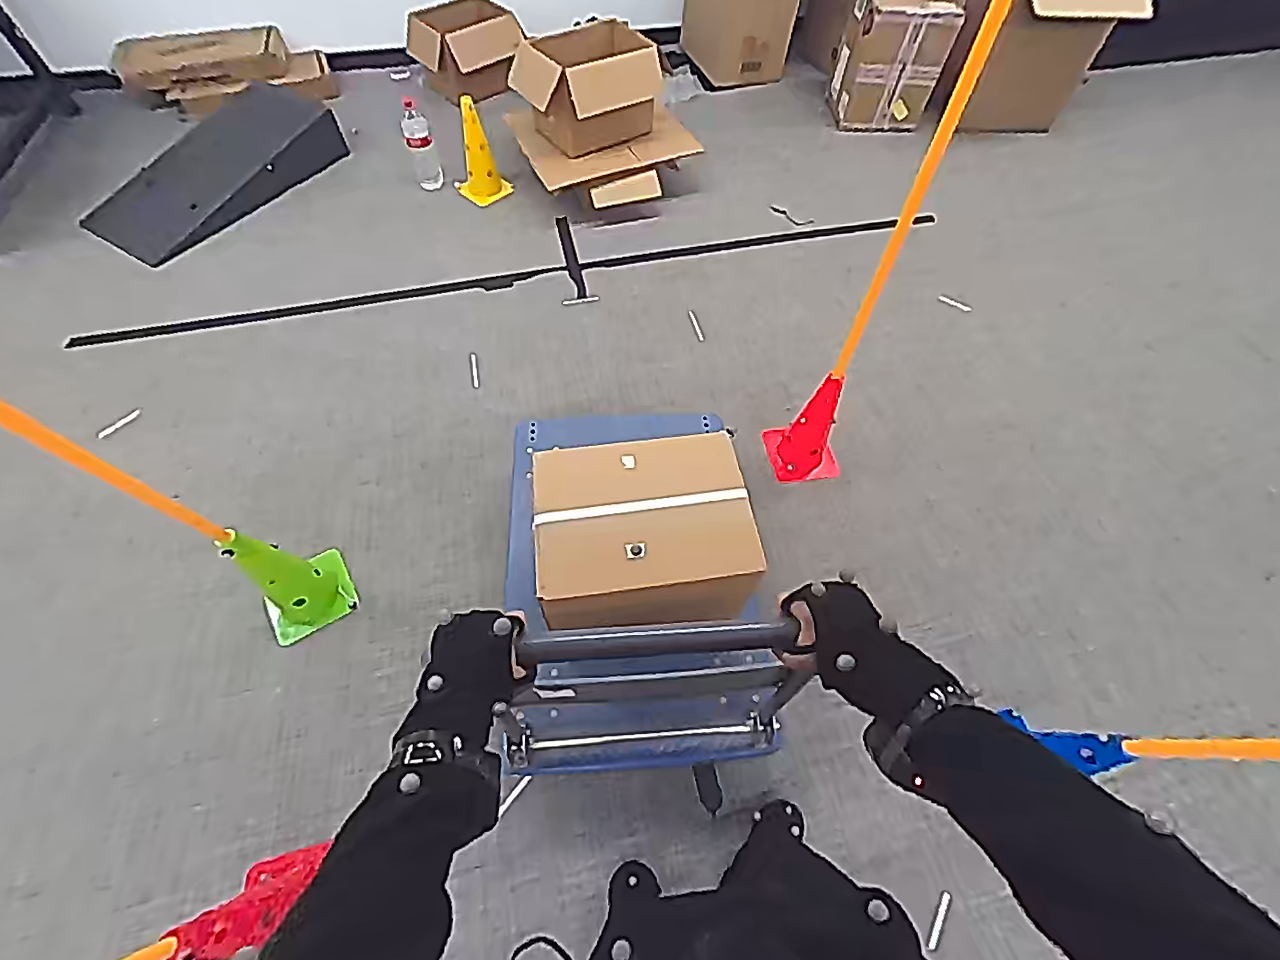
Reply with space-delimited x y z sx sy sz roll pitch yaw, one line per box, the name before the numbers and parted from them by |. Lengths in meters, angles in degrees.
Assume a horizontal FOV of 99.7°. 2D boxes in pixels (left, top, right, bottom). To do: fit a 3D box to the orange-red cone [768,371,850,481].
orange-red cone | 0.512 -0.173 1.525 0.199 0.360 0.198 -5 59 -6
